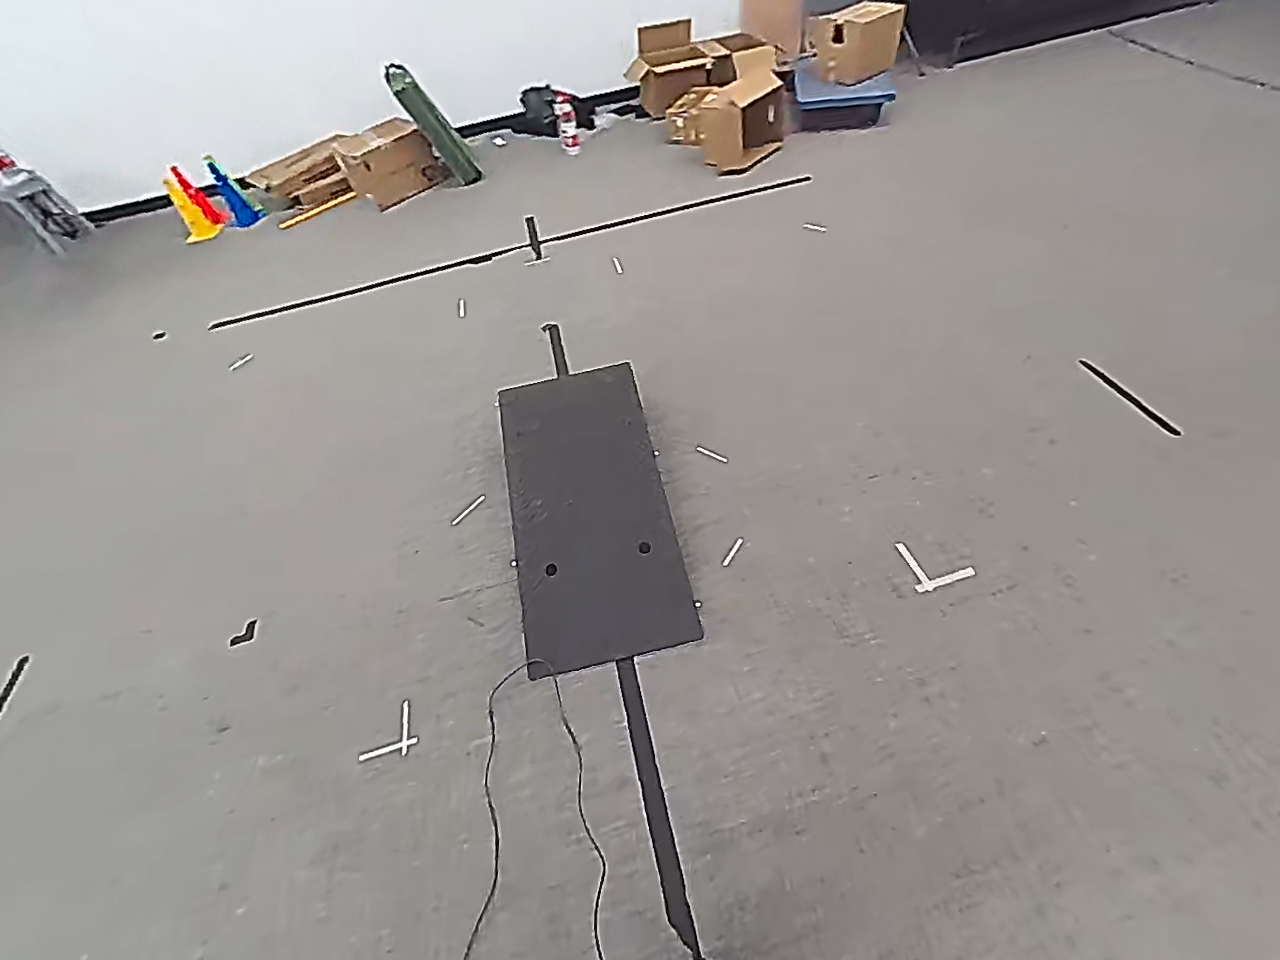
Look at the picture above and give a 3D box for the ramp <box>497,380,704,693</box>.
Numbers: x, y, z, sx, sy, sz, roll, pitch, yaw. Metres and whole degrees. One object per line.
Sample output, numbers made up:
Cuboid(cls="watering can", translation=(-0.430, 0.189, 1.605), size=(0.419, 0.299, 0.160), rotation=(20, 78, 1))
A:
Cuboid(cls="ramp", translation=(-0.166, 0.111, 1.726), size=(0.509, 0.206, 0.991), rotation=(-15, 50, -4))
